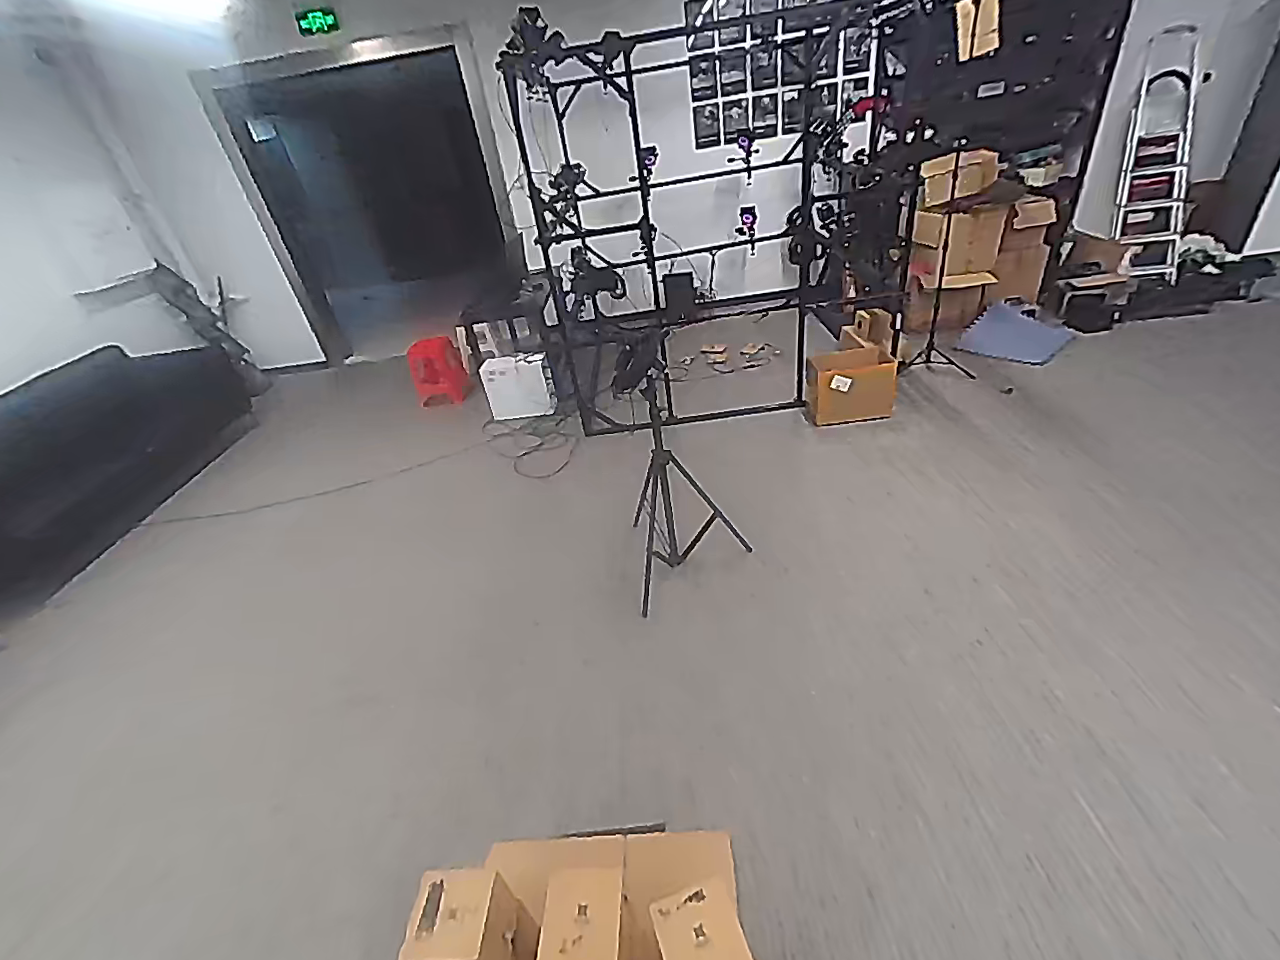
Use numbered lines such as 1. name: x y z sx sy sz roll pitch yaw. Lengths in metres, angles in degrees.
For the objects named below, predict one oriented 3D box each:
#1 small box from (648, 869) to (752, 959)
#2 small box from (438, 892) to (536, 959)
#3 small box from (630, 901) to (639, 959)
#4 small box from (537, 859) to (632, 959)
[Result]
1. small box: 0.129 0.960 1.118 0.168 0.176 0.179 -17 35 -9
2. small box: -0.361 1.120 1.297 0.179 0.176 0.168 -7 33 6
3. small box: -0.098 1.098 1.266 0.179 0.176 0.168 -5 34 6
4. small box: -0.111 0.960 1.176 0.168 0.176 0.179 -5 34 7
